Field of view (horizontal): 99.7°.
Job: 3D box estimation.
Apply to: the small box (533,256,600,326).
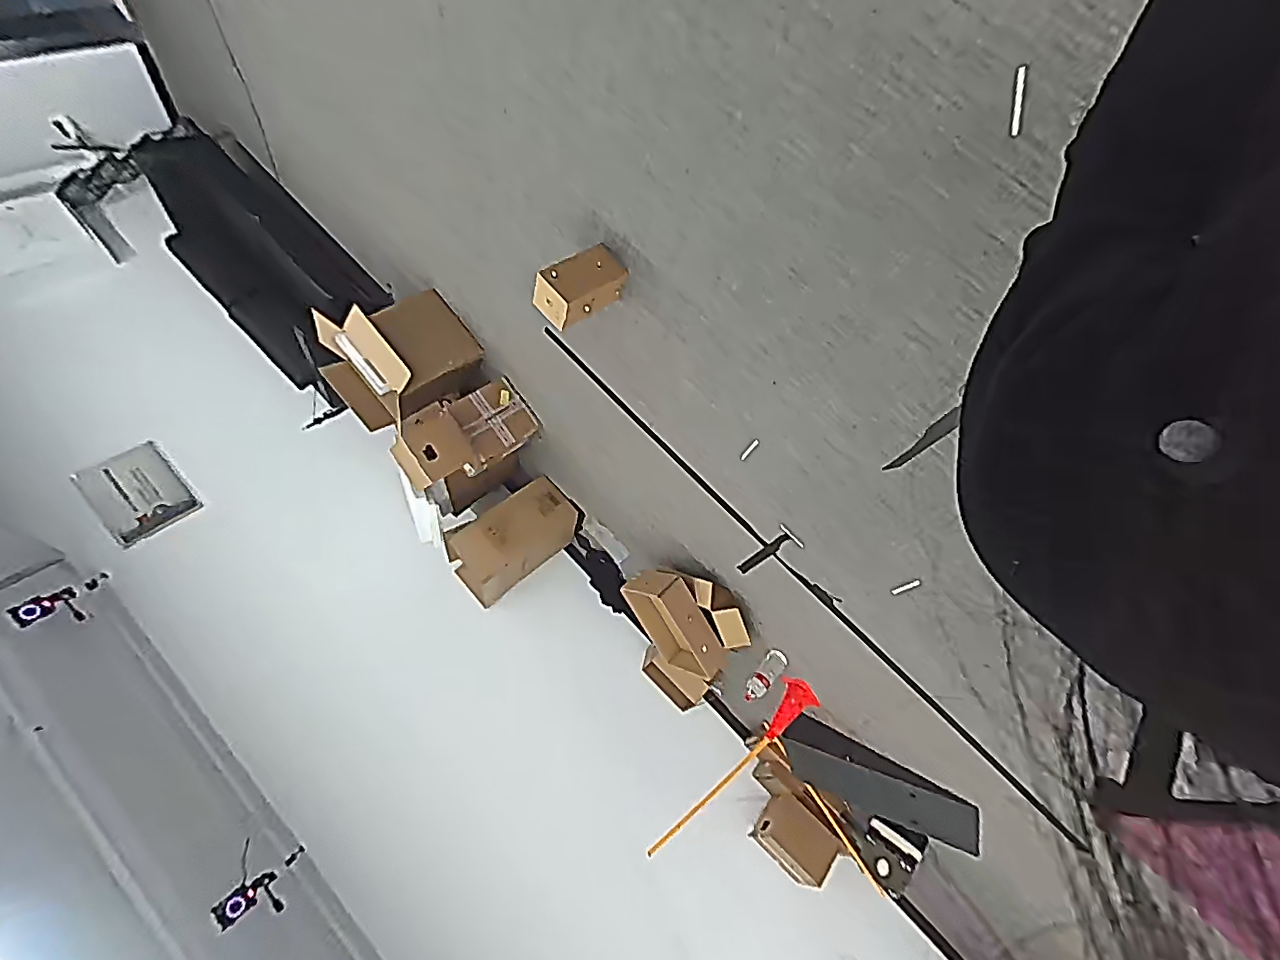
[{"bbox_3d":[-0.287,-0.741,2.100,0.179,0.176,0.168,47,151,6],"label":"small box"}]
